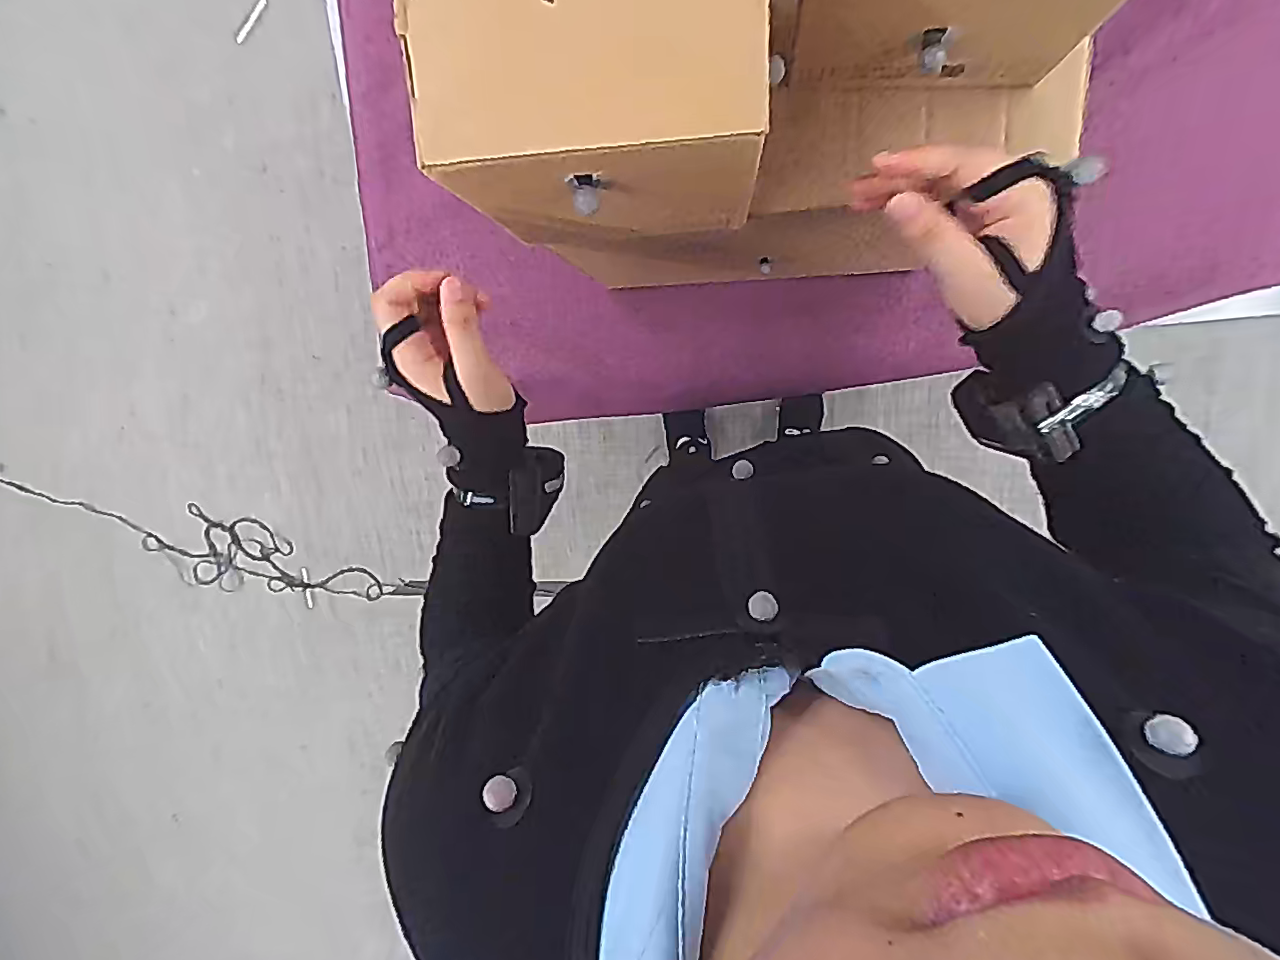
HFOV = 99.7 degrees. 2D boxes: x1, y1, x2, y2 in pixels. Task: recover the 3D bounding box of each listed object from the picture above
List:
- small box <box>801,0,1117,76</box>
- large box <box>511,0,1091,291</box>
[{"bbox_3d":[0.179,-0.342,0.266,0.168,0.176,0.179,6,101,10],"label":"small box"},{"bbox_3d":[0.124,-0.379,0.522,0.408,0.320,0.320,-1,99,10],"label":"large box"}]
